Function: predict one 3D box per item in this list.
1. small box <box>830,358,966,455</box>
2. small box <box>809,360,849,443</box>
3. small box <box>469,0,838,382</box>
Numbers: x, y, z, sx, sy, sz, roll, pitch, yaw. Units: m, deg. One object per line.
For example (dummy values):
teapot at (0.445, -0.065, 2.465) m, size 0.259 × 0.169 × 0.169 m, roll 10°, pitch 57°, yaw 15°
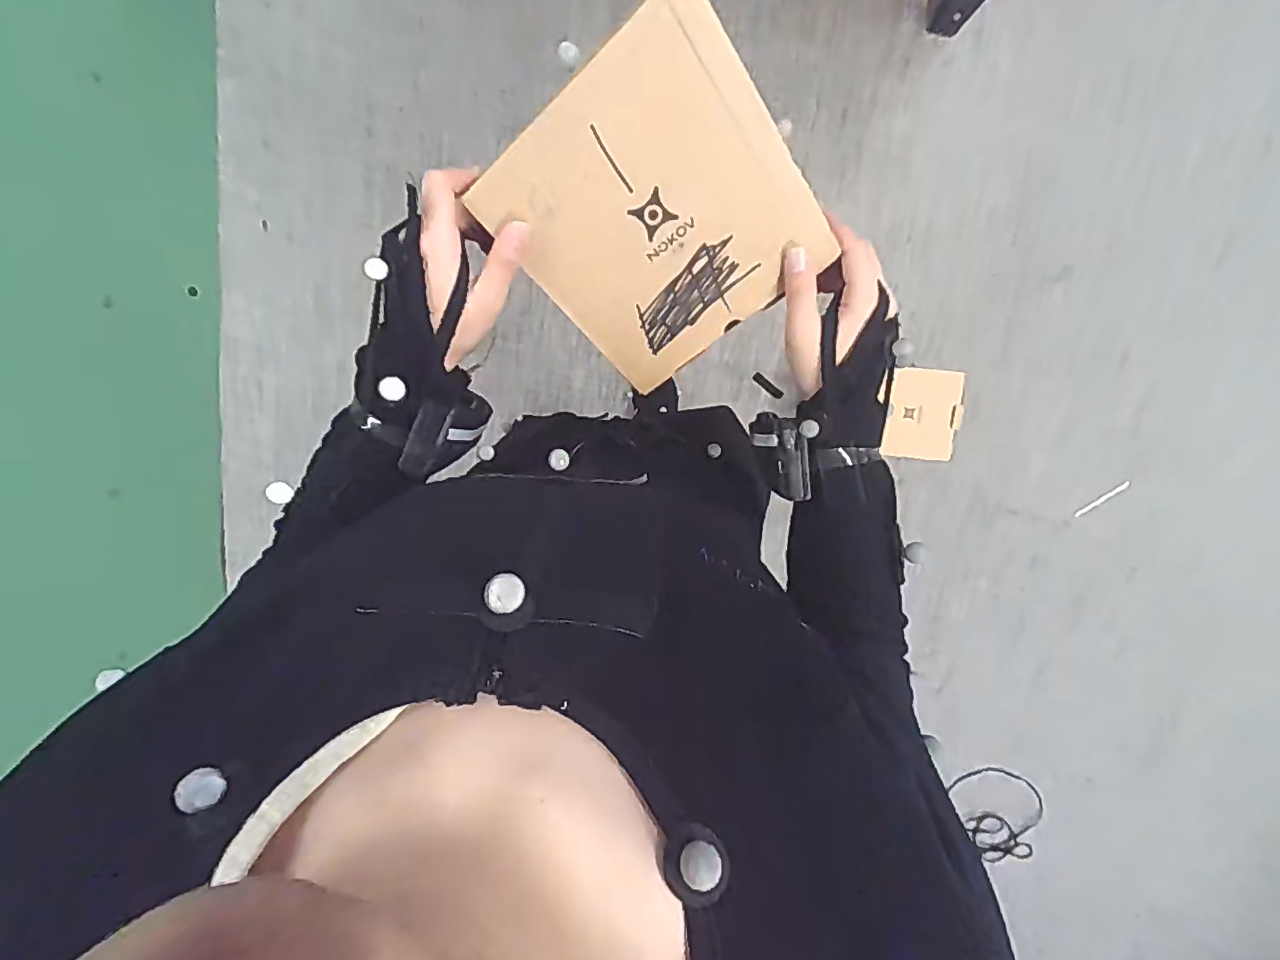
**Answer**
small box at (0.495, -0.150, 1.064) m, size 0.179 × 0.176 × 0.168 m, roll 5°, pitch 102°, yaw 2°
small box at (0.495, -0.177, 1.225) m, size 0.168 × 0.176 × 0.179 m, roll 5°, pitch 103°, yaw 1°
small box at (0.012, -0.213, 0.393) m, size 0.168 × 0.176 × 0.179 m, roll -32°, pitch 124°, yaw 22°
